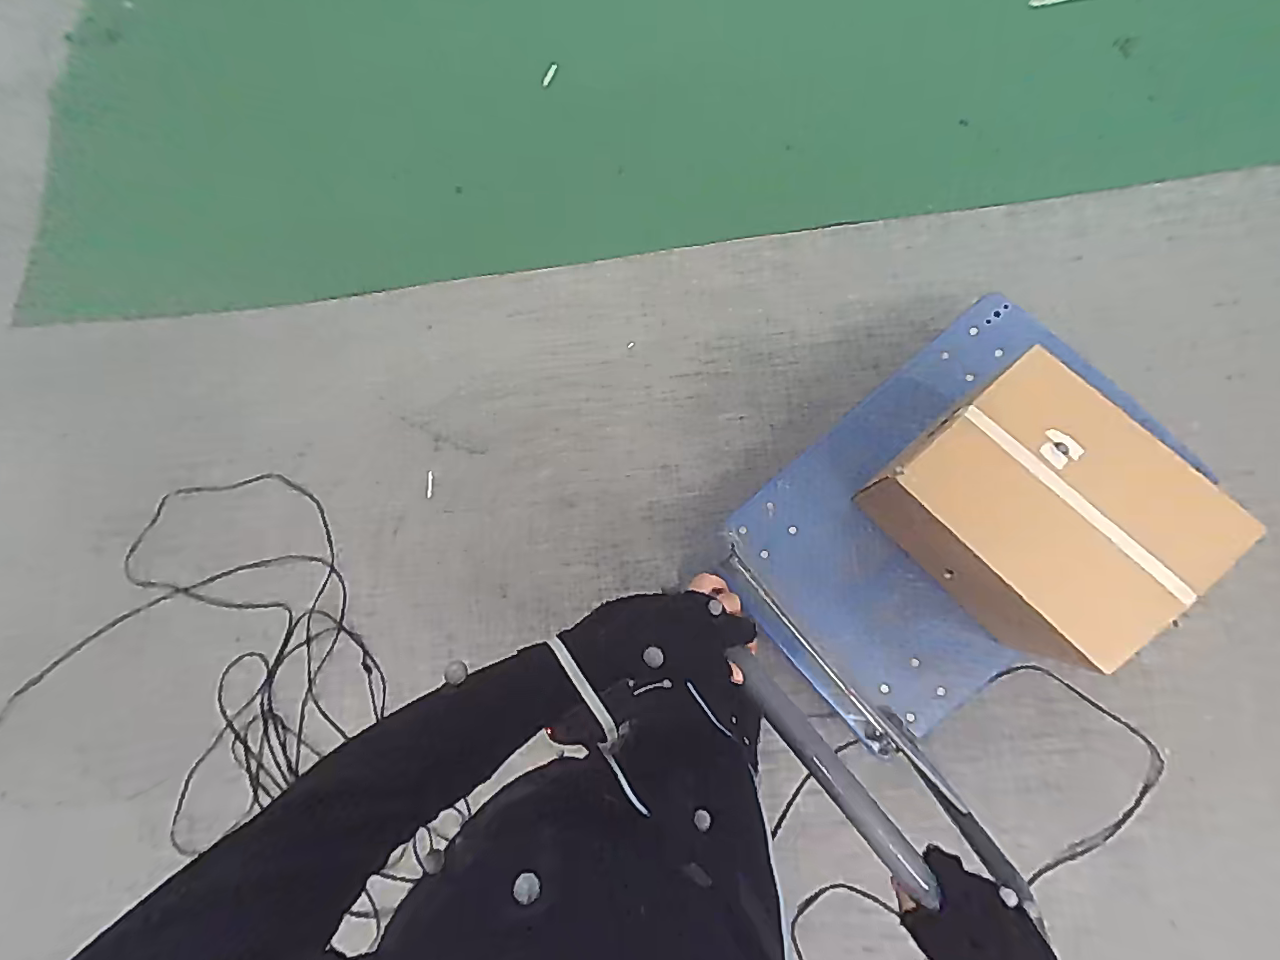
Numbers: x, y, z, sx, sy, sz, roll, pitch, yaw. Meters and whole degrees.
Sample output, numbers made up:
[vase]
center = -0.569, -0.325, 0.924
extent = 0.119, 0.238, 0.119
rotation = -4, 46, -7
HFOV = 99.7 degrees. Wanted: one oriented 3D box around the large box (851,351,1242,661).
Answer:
[large box]
center = 0.668, 0.051, 0.982
extent = 0.320, 0.320, 0.408
rotation = -44, 77, 1
